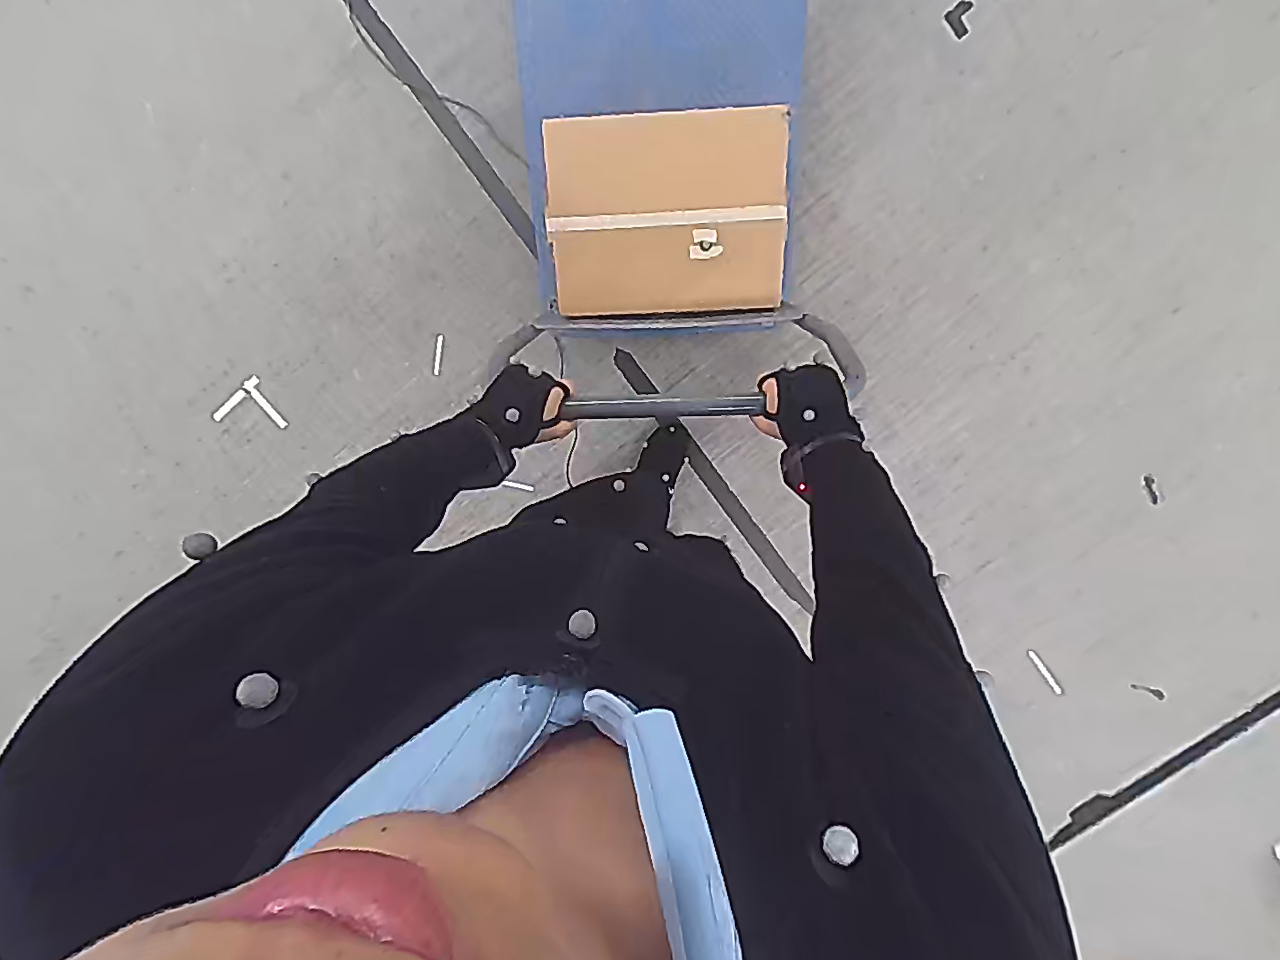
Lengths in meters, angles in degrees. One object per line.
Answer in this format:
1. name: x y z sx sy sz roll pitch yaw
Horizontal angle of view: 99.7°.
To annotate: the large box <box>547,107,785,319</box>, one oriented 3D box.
1. large box: 0.053 -0.508 1.085 0.408 0.320 0.320 -3 111 2
